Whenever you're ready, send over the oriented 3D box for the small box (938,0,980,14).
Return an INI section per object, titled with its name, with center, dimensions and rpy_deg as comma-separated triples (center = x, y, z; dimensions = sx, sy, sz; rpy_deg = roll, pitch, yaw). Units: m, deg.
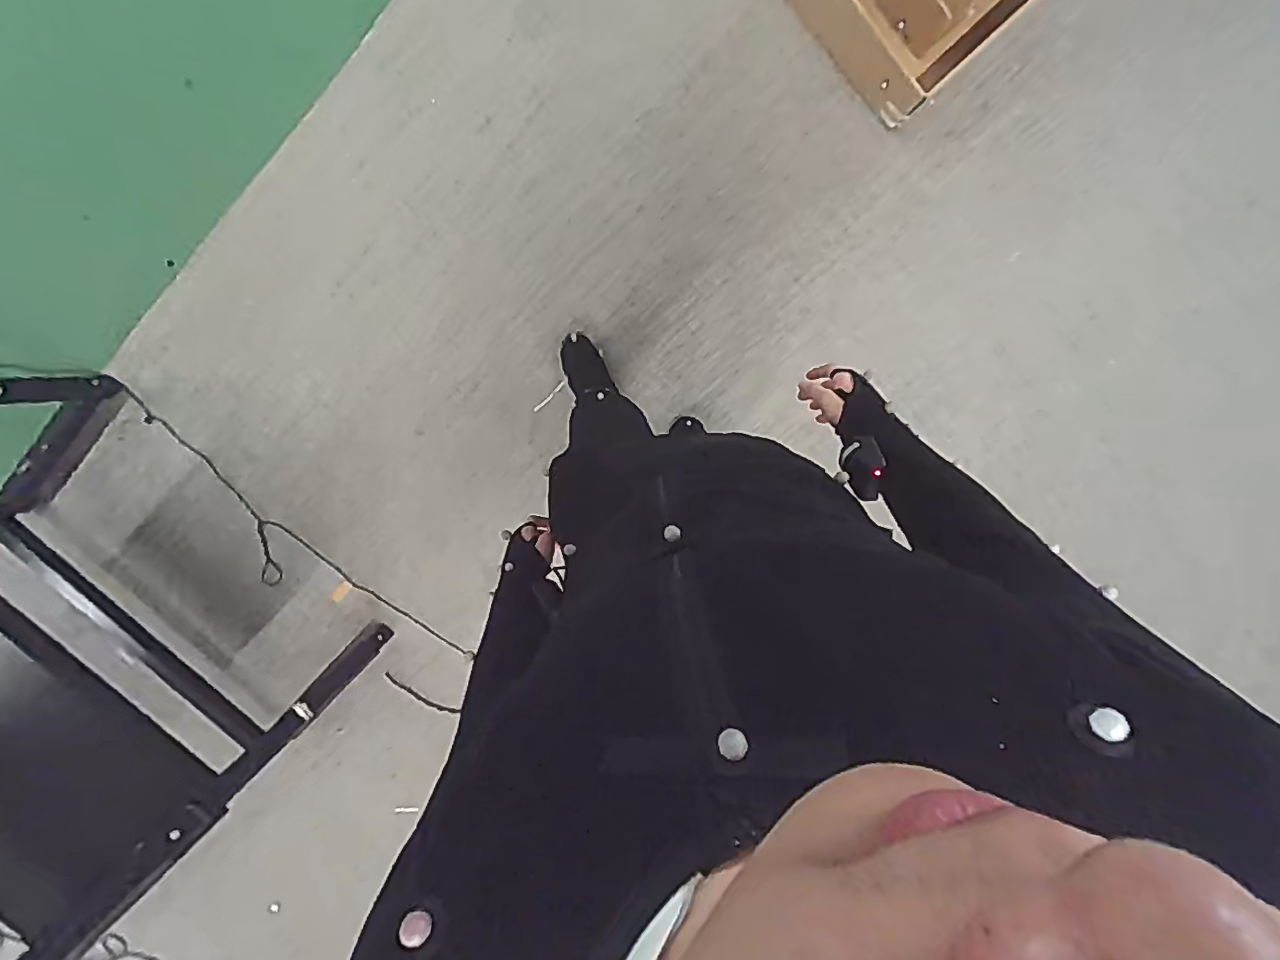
[small box]
center = 0.678, -1.076, 1.060
dimensions = 0.168, 0.176, 0.179
rpy_deg = -38, 97, 10
